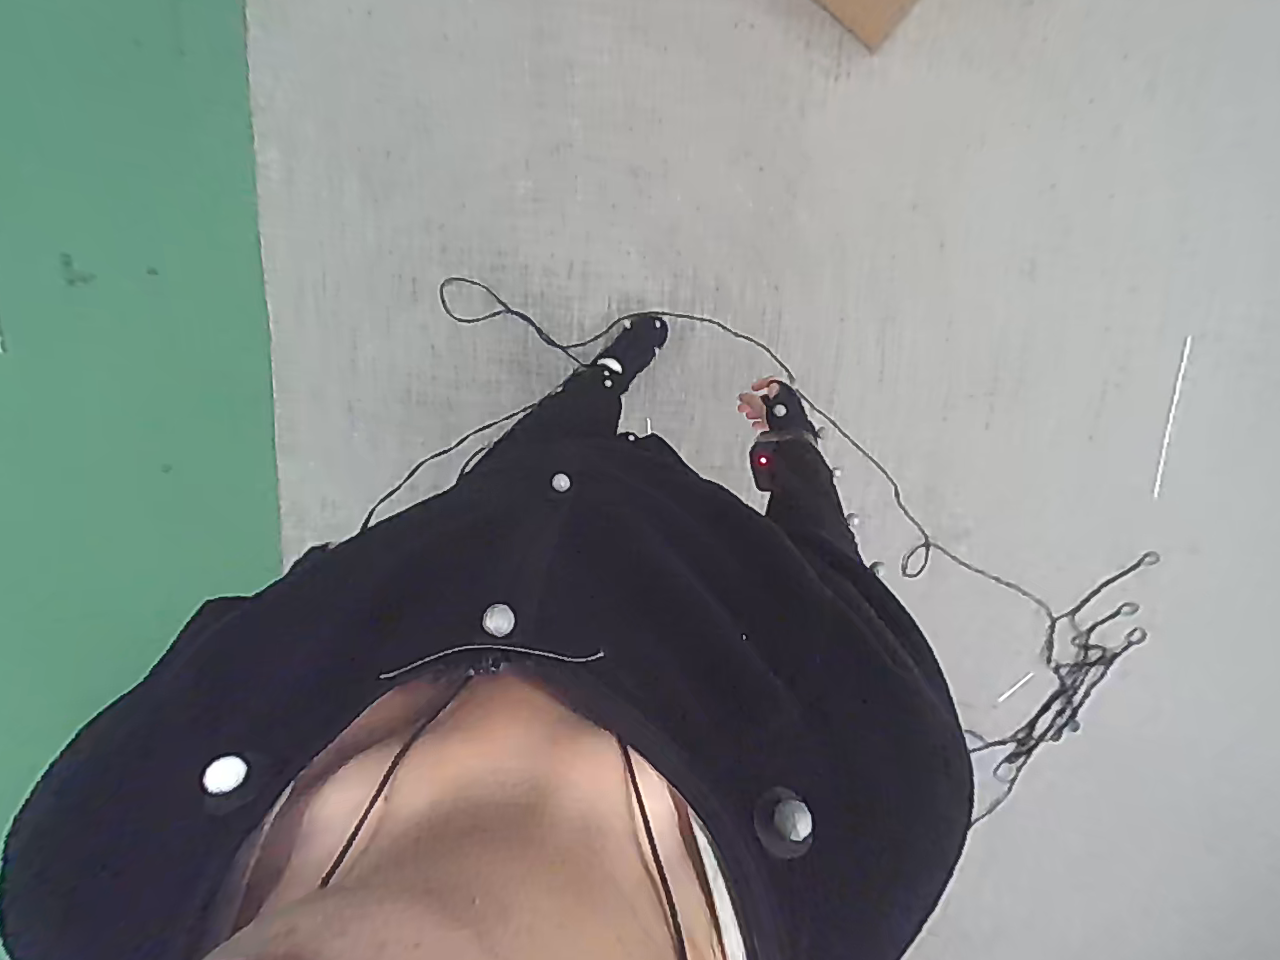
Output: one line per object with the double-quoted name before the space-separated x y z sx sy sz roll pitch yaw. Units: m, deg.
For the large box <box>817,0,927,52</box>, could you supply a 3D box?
"large box" 0.523 -1.259 1.152 0.408 0.320 0.320 33 97 -10
